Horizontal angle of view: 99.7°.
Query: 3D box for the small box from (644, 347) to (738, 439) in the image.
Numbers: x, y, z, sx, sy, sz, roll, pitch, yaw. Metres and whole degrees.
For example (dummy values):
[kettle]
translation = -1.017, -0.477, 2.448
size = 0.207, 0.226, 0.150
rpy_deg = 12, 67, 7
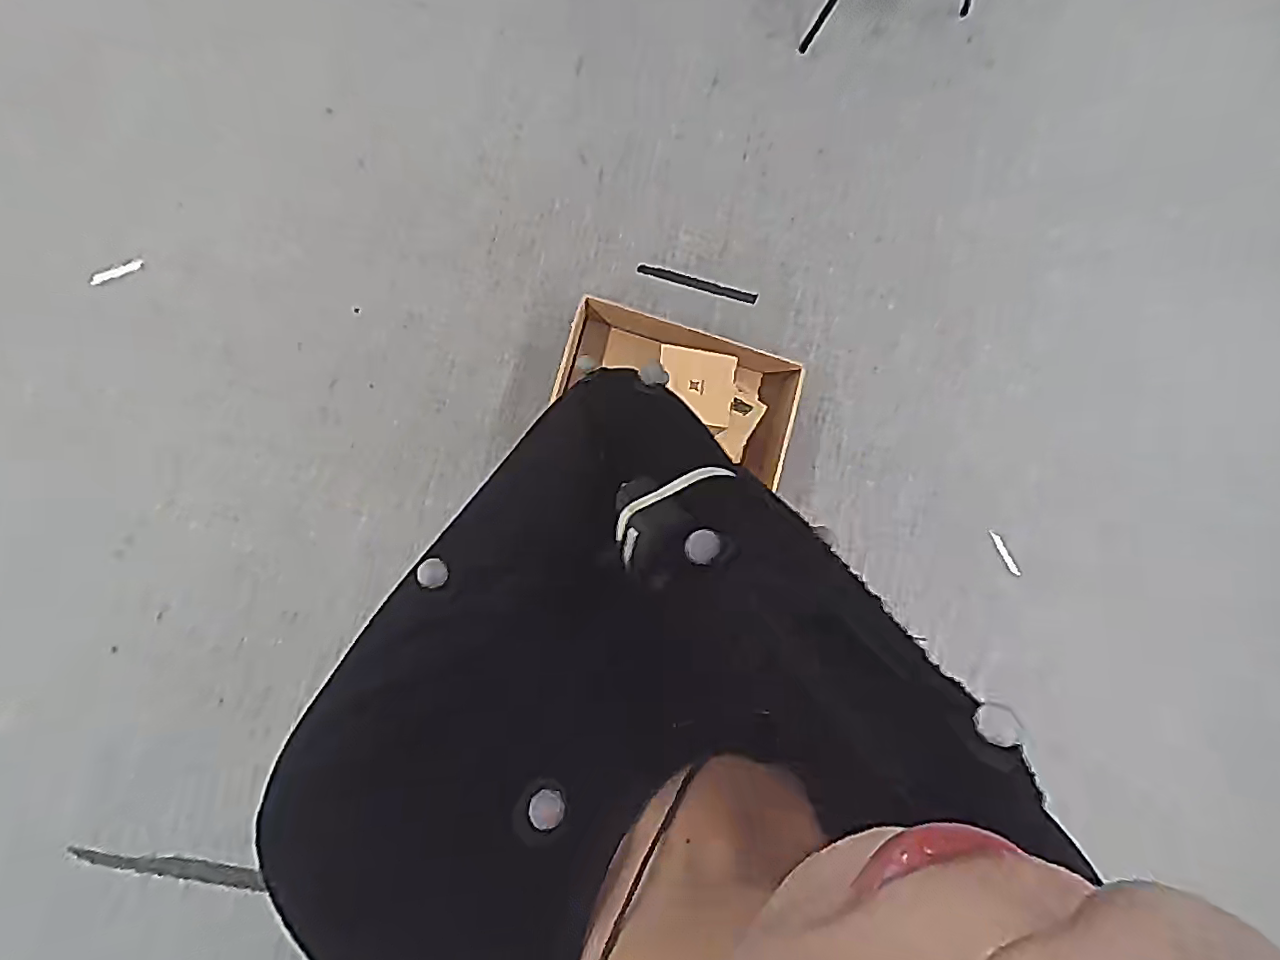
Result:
[small box]
translation = 0.113, -0.195, 1.262
size = 0.179, 0.176, 0.168
rpy_deg = 8, 85, -6
